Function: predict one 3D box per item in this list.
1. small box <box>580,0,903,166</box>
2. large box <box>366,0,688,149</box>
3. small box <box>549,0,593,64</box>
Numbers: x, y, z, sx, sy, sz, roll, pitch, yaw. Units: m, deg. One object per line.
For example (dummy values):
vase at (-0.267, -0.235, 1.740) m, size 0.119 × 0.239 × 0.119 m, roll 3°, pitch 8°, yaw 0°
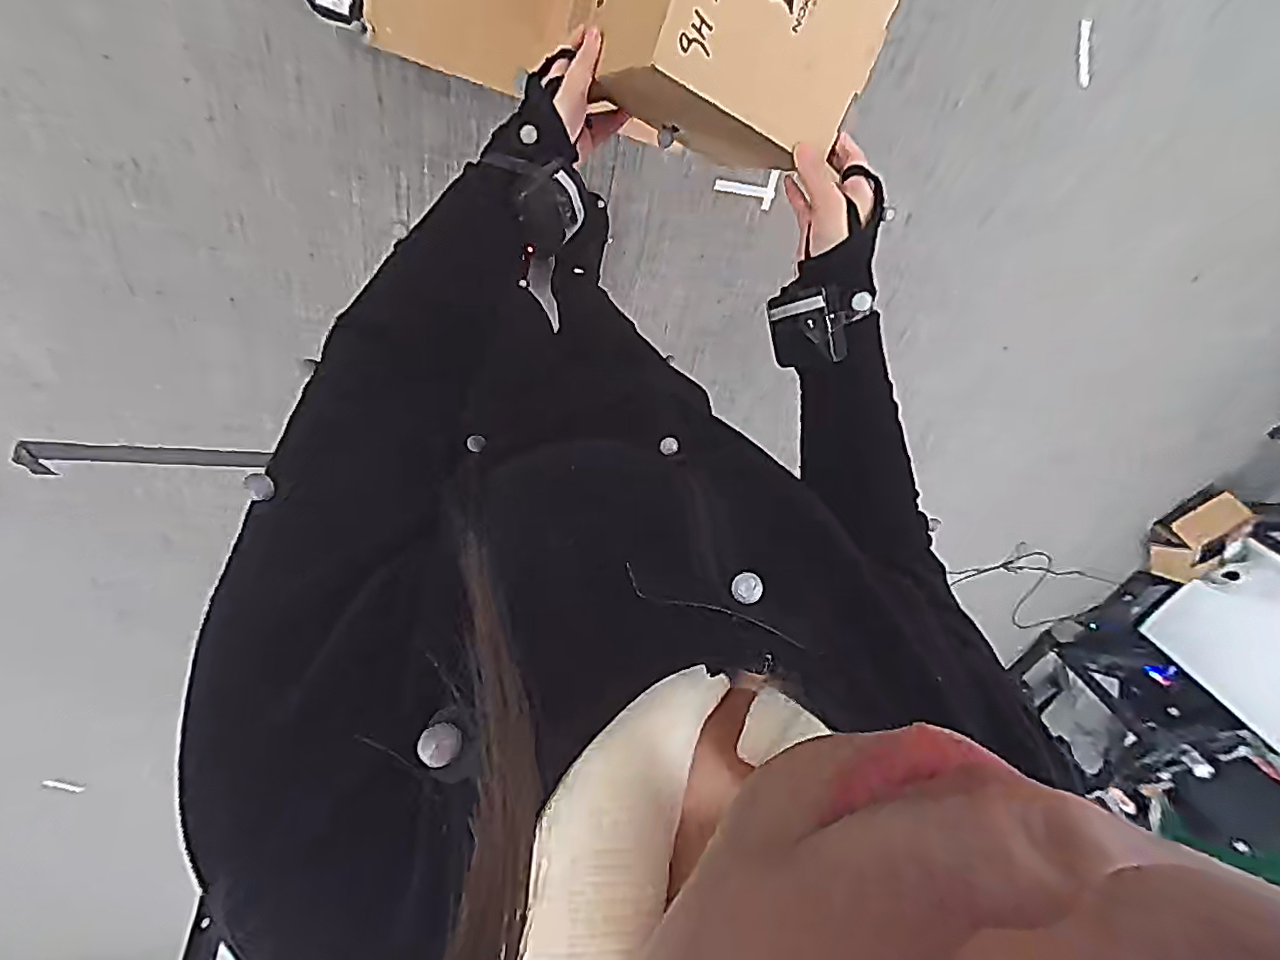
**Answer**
small box at (0.078, -0.377, 0.428) m, size 0.179 × 0.176 × 0.168 m, roll 9°, pitch 114°, yaw -33°
large box at (-0.112, -0.684, 0.710) m, size 0.408 × 0.320 × 0.320 m, roll 6°, pitch 124°, yaw -21°
small box at (0.015, -0.510, 0.566) m, size 0.179 × 0.176 × 0.168 m, roll 9°, pitch 125°, yaw -23°
